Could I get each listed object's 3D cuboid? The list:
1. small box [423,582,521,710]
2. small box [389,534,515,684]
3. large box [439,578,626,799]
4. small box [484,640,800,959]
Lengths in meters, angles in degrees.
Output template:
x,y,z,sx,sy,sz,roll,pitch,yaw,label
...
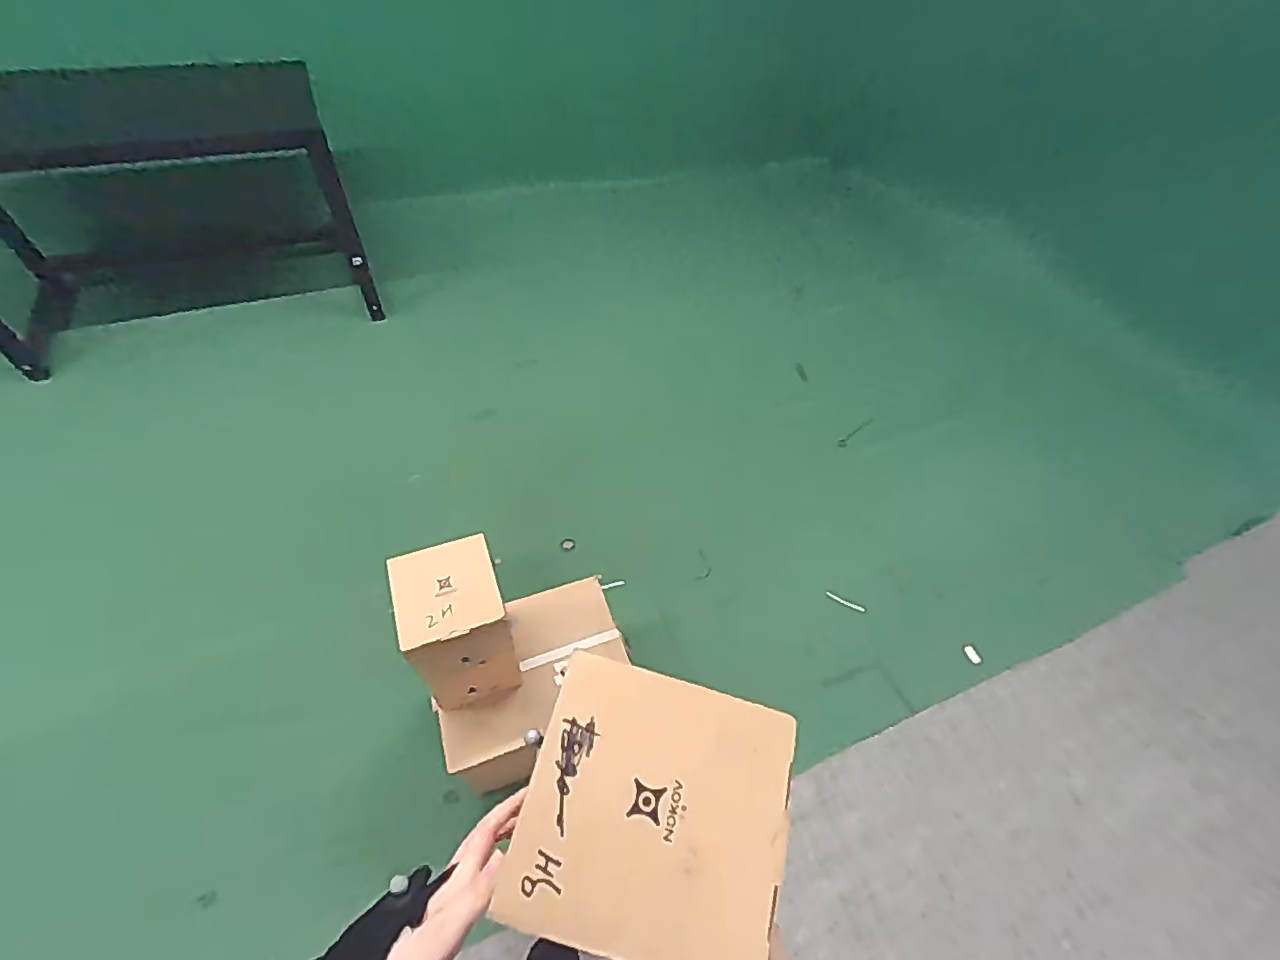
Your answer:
x,y,z,sx,sy,sz,roll,pitch,yaw,label
-0.342,0.329,1.083,0.168,0.176,0.179,-14,55,-16,small box
-0.327,0.228,0.953,0.168,0.176,0.179,-16,55,-17,small box
-0.243,0.489,1.274,0.408,0.320,0.320,-14,55,-17,large box
0.000,0.245,0.423,0.179,0.176,0.168,19,61,0,small box
